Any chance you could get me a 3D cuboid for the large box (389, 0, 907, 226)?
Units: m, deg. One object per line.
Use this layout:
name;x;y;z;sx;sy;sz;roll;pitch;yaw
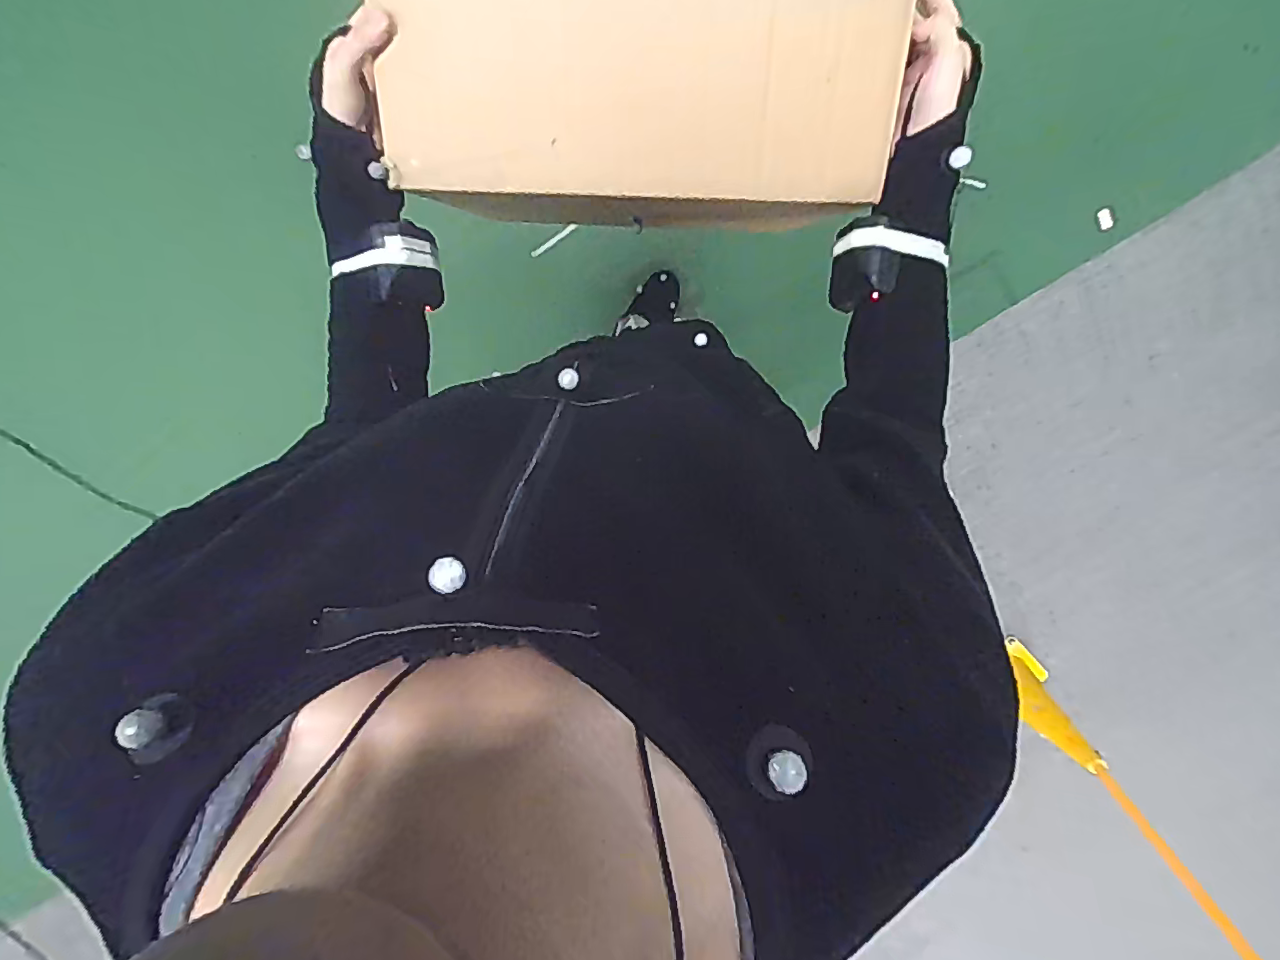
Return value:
large box;0.010;-0.437;0.544;0.408;0.320;0.320;3;110;0
